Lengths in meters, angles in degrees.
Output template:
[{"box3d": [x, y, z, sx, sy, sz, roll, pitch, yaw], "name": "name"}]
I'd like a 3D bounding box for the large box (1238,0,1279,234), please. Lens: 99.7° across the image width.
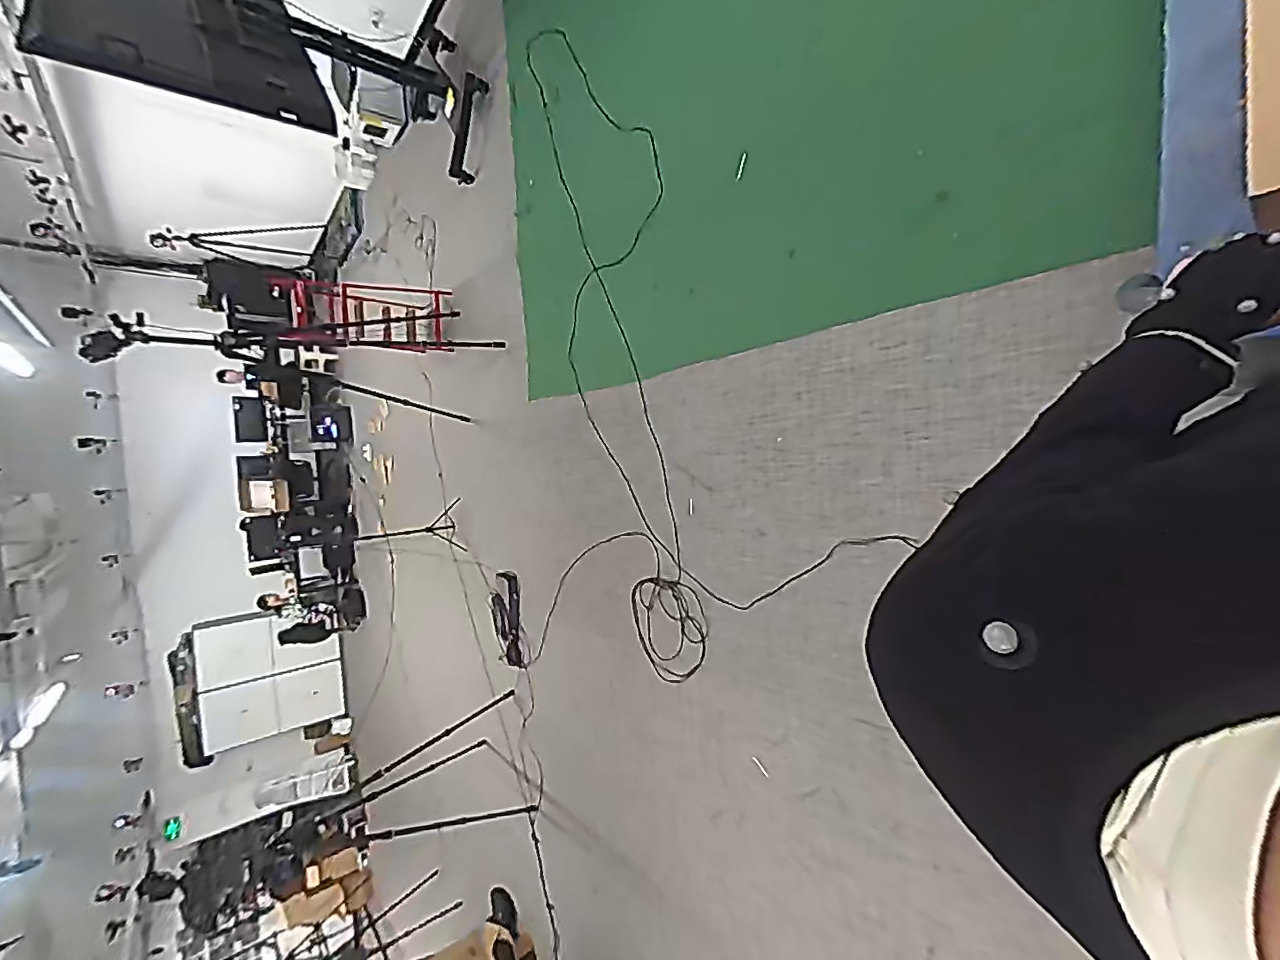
[{"box3d": [1.090, -0.629, 0.760, 0.320, 0.320, 0.408, -1, 94, 51], "name": "large box"}]
